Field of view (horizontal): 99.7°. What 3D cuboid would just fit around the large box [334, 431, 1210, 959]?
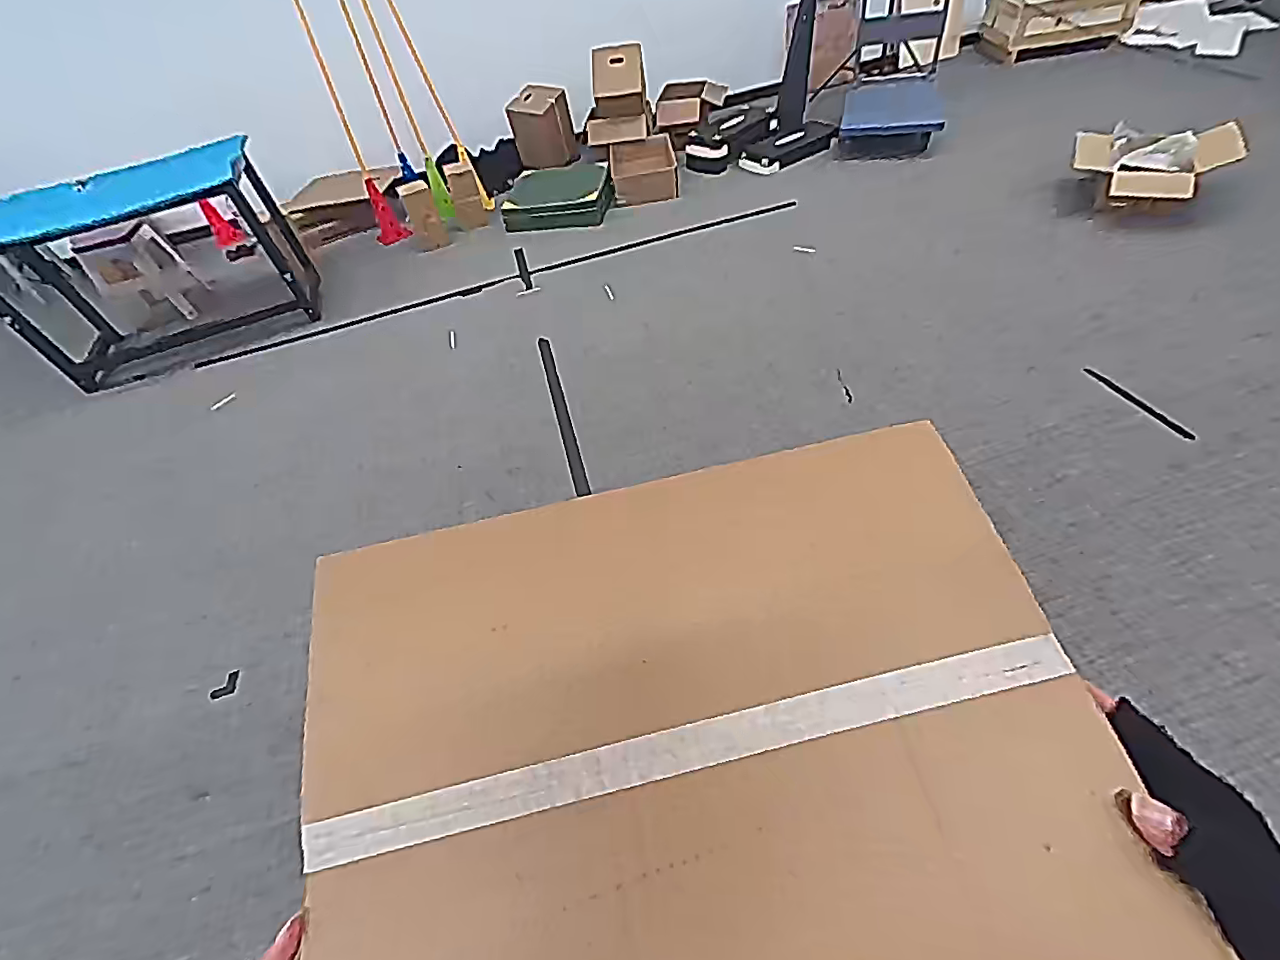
[{"bbox_3d":[0.040,0.210,0.428,0.408,0.320,0.320,-13,64,-3],"label":"large box"}]
